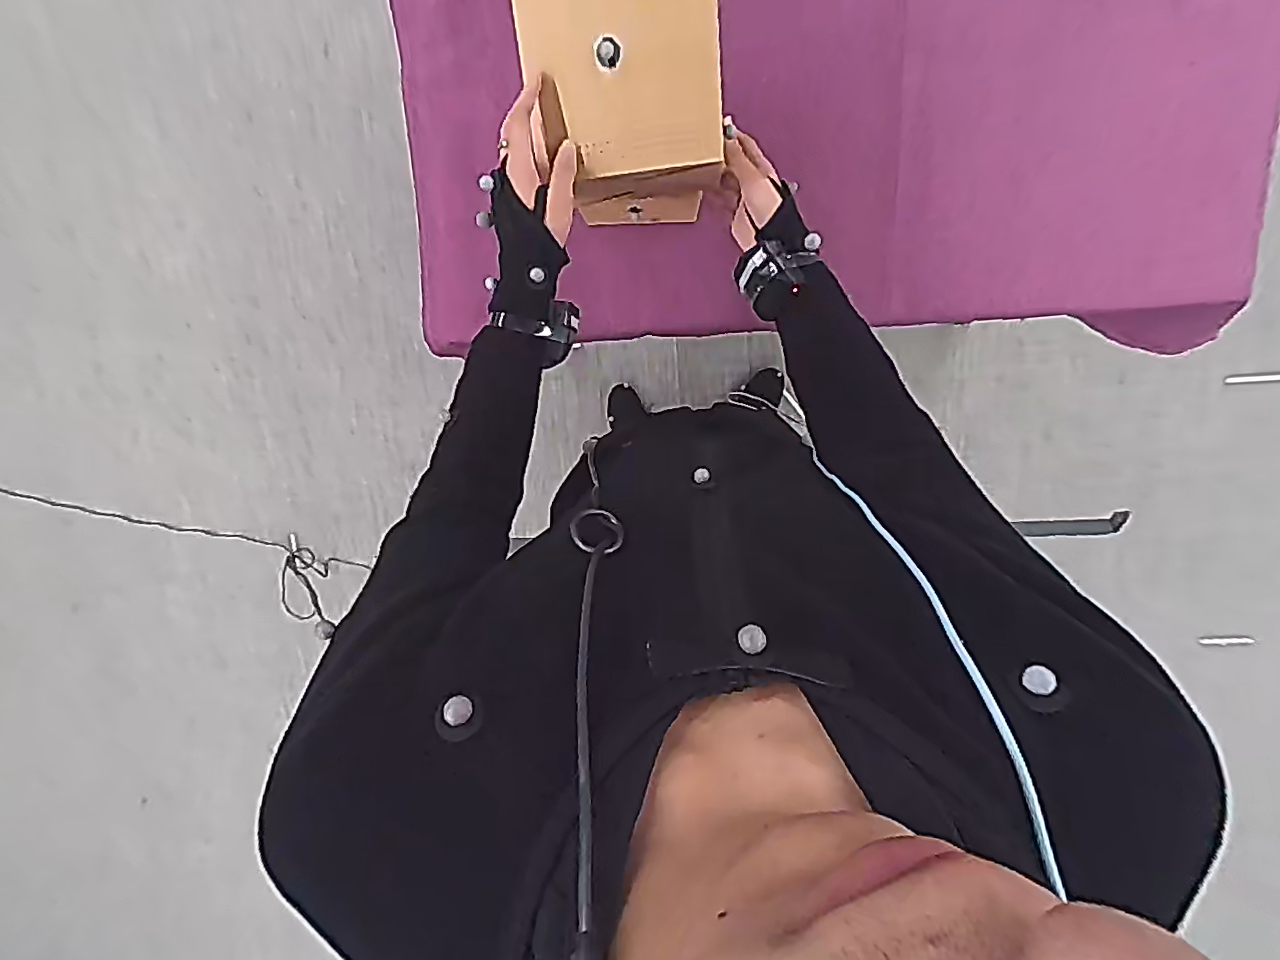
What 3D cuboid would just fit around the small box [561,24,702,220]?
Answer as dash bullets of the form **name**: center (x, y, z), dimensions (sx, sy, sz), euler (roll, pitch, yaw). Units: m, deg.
- **small box**: center (-0.007, -0.454, 0.717), dimensions (0.168, 0.176, 0.179), euler (0, 102, 2)
